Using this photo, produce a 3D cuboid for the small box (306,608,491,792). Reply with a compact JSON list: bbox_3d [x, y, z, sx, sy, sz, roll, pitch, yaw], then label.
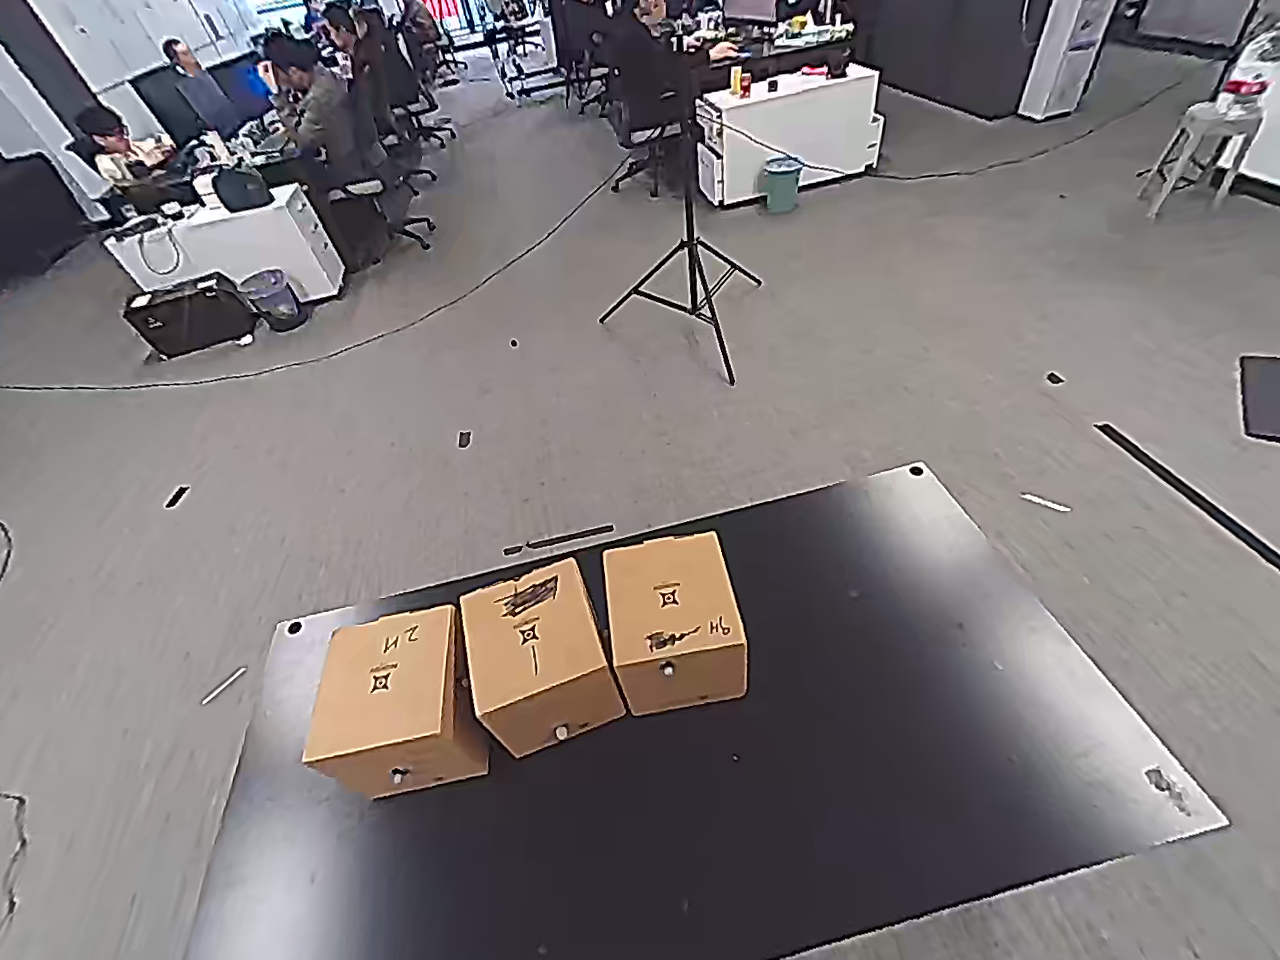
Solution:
[{"bbox_3d":[-0.312,0.307,0.742,0.168,0.176,0.179,-12,46,-1],"label":"small box"}]
